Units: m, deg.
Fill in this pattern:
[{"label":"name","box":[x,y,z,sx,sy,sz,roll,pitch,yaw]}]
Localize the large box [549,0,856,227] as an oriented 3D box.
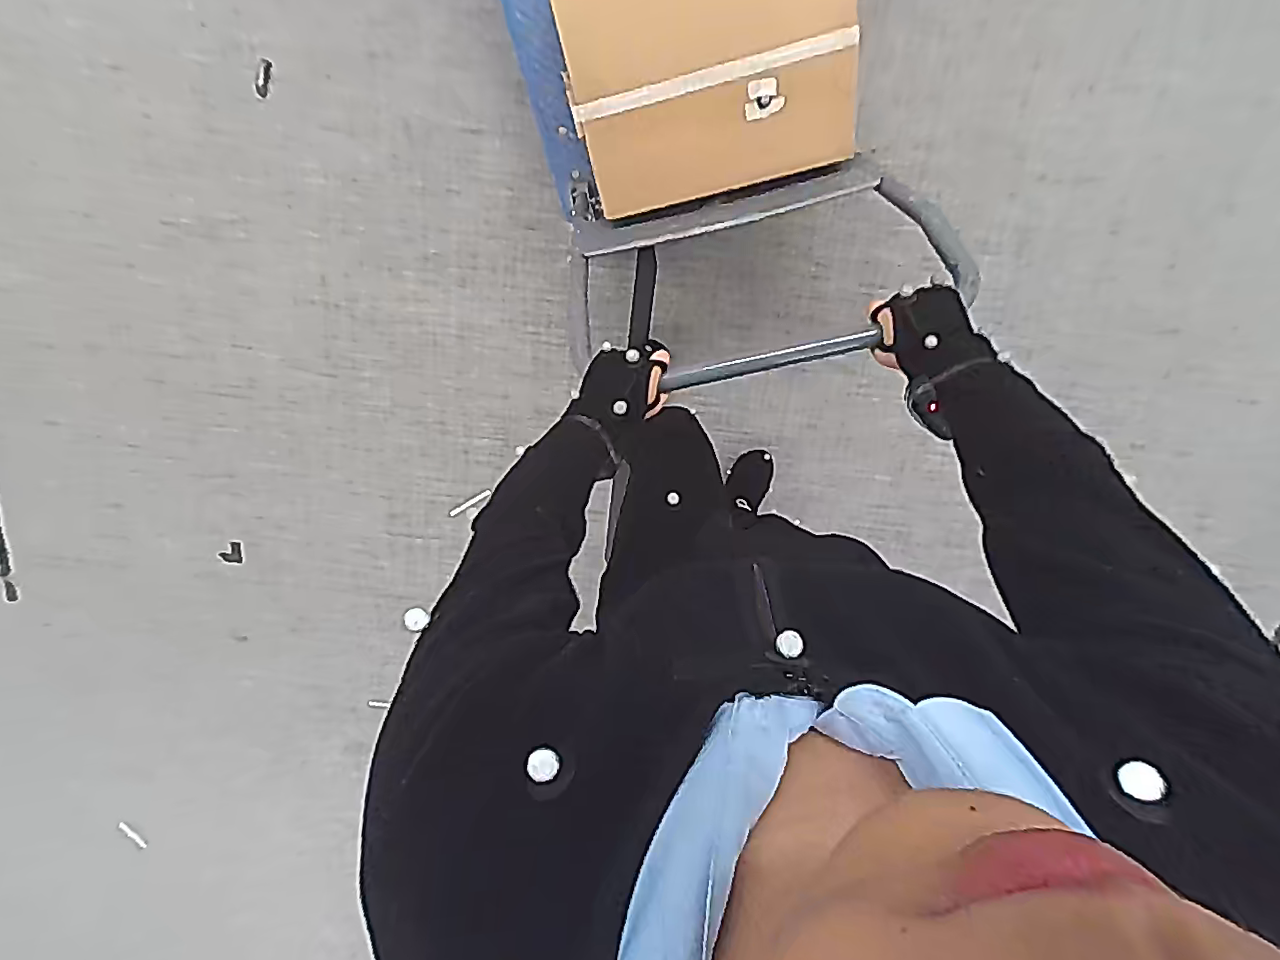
[{"label":"large box","box":[0.096,-0.667,0.887,0.408,0.320,0.320,-12,131,6]}]
